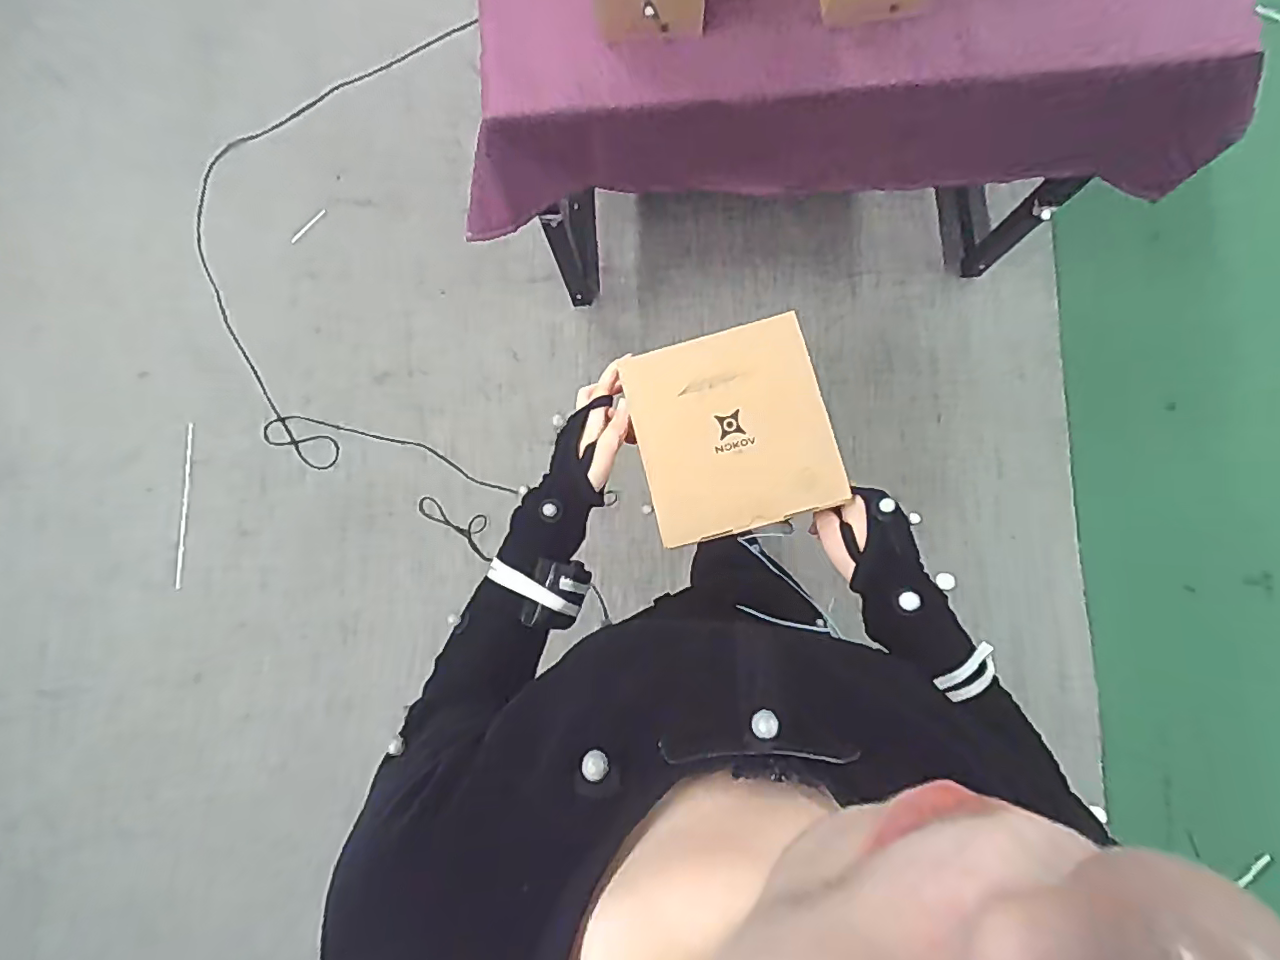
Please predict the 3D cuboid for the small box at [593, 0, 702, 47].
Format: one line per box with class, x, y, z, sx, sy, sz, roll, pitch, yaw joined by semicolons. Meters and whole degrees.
small box;0.009;-0.800;0.806;0.168;0.176;0.179;-2;82;3
